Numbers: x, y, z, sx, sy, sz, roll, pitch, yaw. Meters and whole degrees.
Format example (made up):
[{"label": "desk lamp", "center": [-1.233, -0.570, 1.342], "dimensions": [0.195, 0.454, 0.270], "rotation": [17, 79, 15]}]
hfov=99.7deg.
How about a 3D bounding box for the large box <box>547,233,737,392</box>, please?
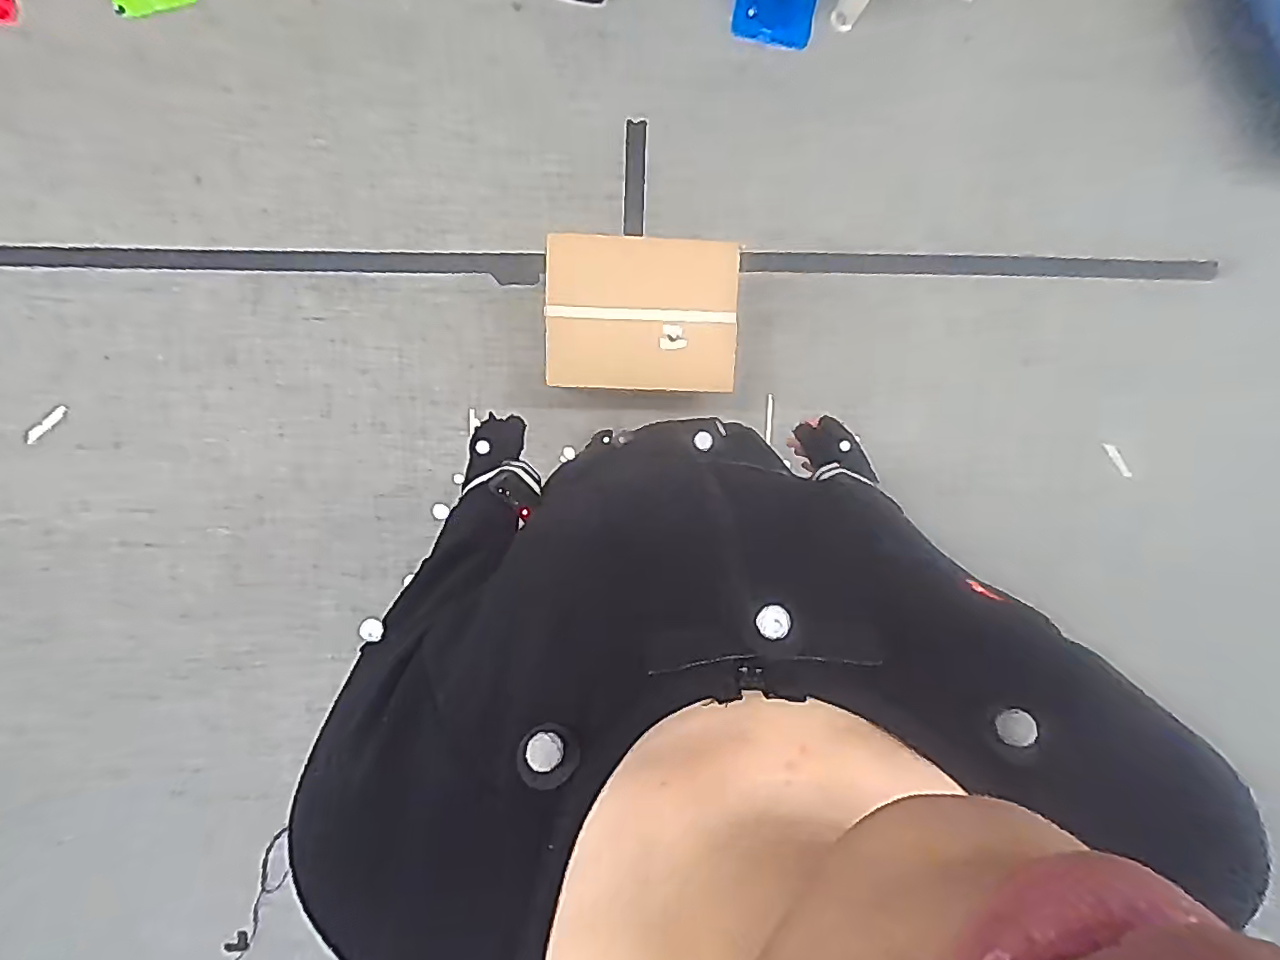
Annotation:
[{"label": "large box", "center": [-0.007, -0.372, 1.286], "dimensions": [0.408, 0.320, 0.320], "rotation": [1, 98, -4]}]
